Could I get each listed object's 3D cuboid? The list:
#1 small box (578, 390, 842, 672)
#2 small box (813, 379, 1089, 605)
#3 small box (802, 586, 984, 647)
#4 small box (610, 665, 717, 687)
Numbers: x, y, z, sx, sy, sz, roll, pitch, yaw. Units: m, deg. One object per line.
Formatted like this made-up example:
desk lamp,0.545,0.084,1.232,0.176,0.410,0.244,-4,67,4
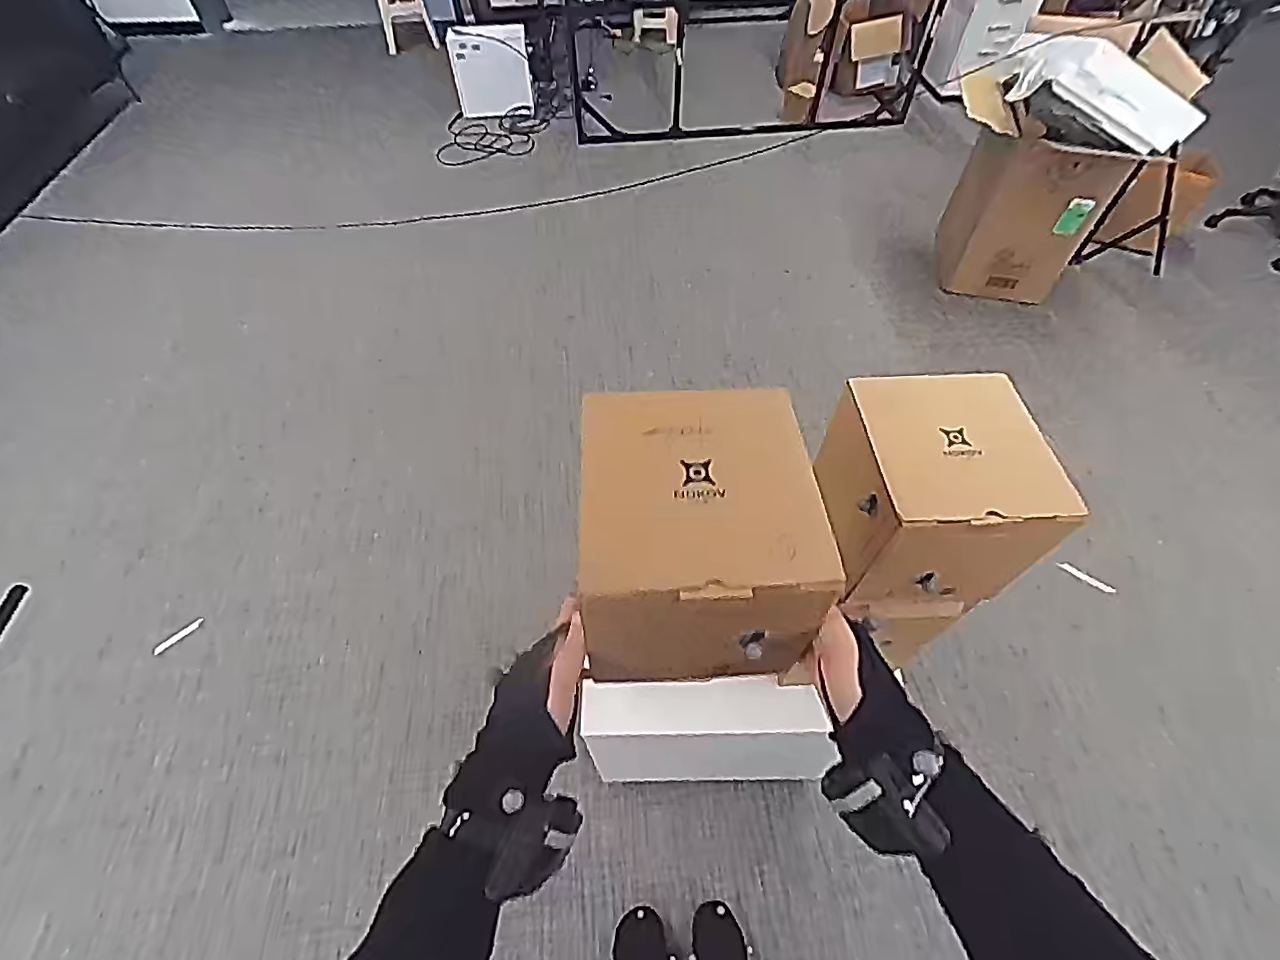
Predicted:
small box,0.040,0.048,0.442,0.168,0.176,0.179,-1,52,-3
small box,0.294,0.015,0.566,0.168,0.176,0.179,-2,55,-1
small box,0.294,0.108,0.699,0.168,0.176,0.179,-2,54,-1
small box,0.034,0.205,0.835,0.168,0.176,0.179,0,54,0
